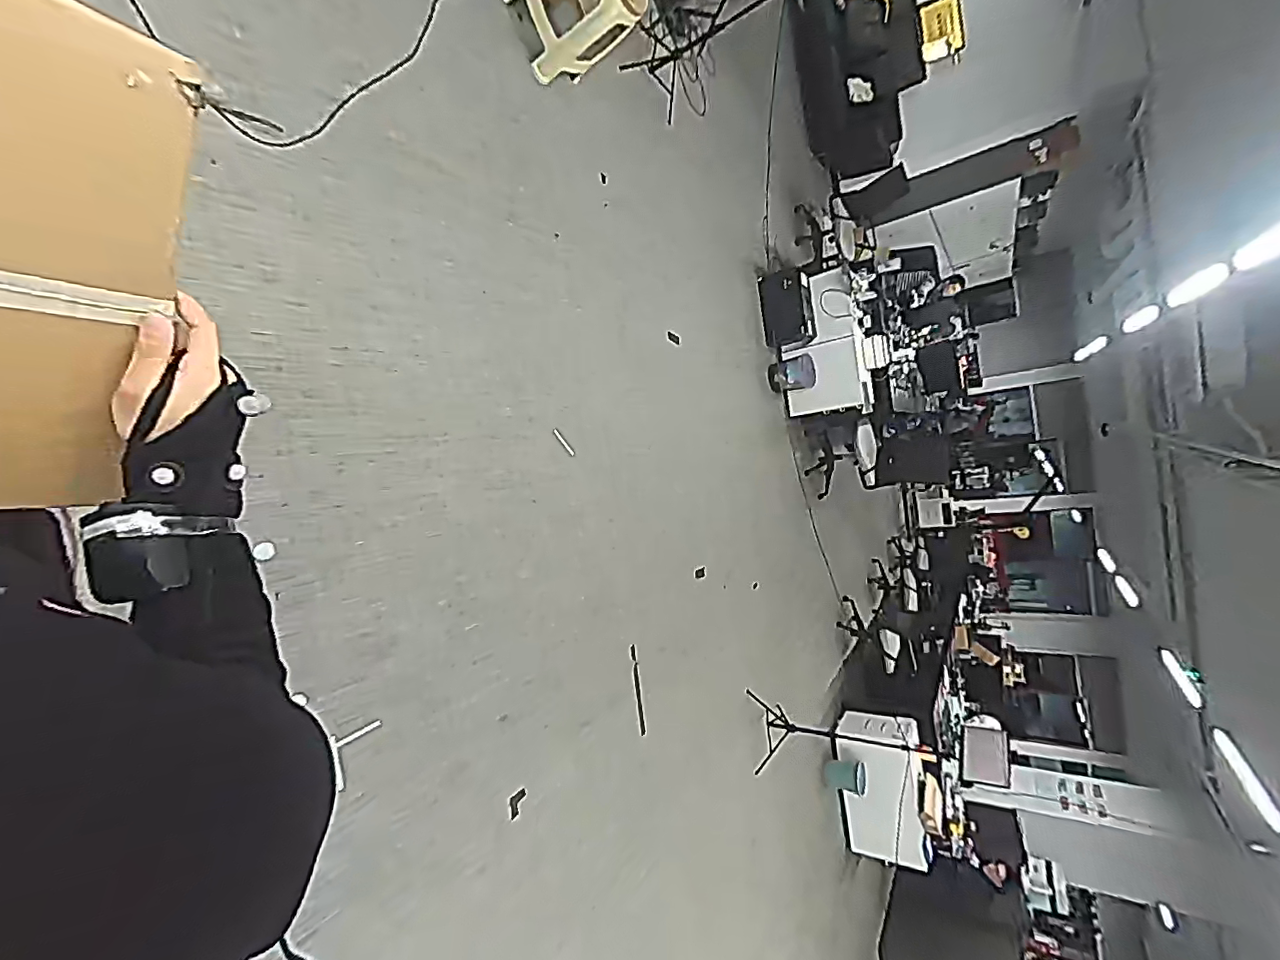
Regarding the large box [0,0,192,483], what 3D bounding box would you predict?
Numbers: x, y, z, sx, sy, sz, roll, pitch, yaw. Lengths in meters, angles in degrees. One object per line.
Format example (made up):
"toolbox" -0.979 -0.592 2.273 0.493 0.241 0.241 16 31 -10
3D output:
"large box" -0.558 -0.199 0.296 0.408 0.320 0.320 -4 126 -54
